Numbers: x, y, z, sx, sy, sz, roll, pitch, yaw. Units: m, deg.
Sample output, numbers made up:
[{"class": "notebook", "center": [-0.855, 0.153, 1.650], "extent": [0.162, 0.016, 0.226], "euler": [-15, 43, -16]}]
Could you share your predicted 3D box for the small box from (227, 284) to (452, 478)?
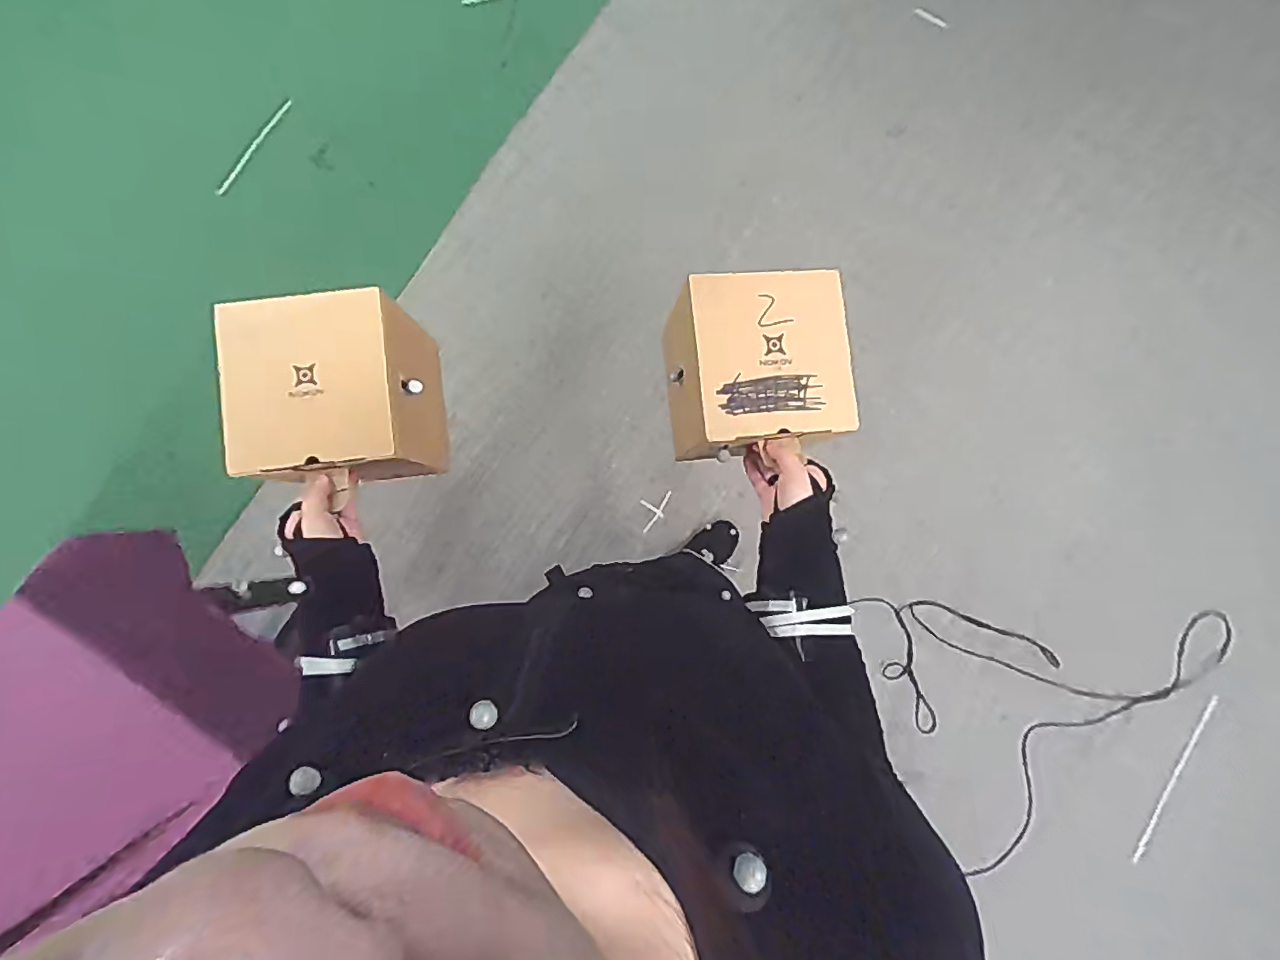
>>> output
[{"class": "small box", "center": [-0.324, -0.100, 0.614], "extent": [0.168, 0.176, 0.179], "euler": [-6, 88, -3]}]
